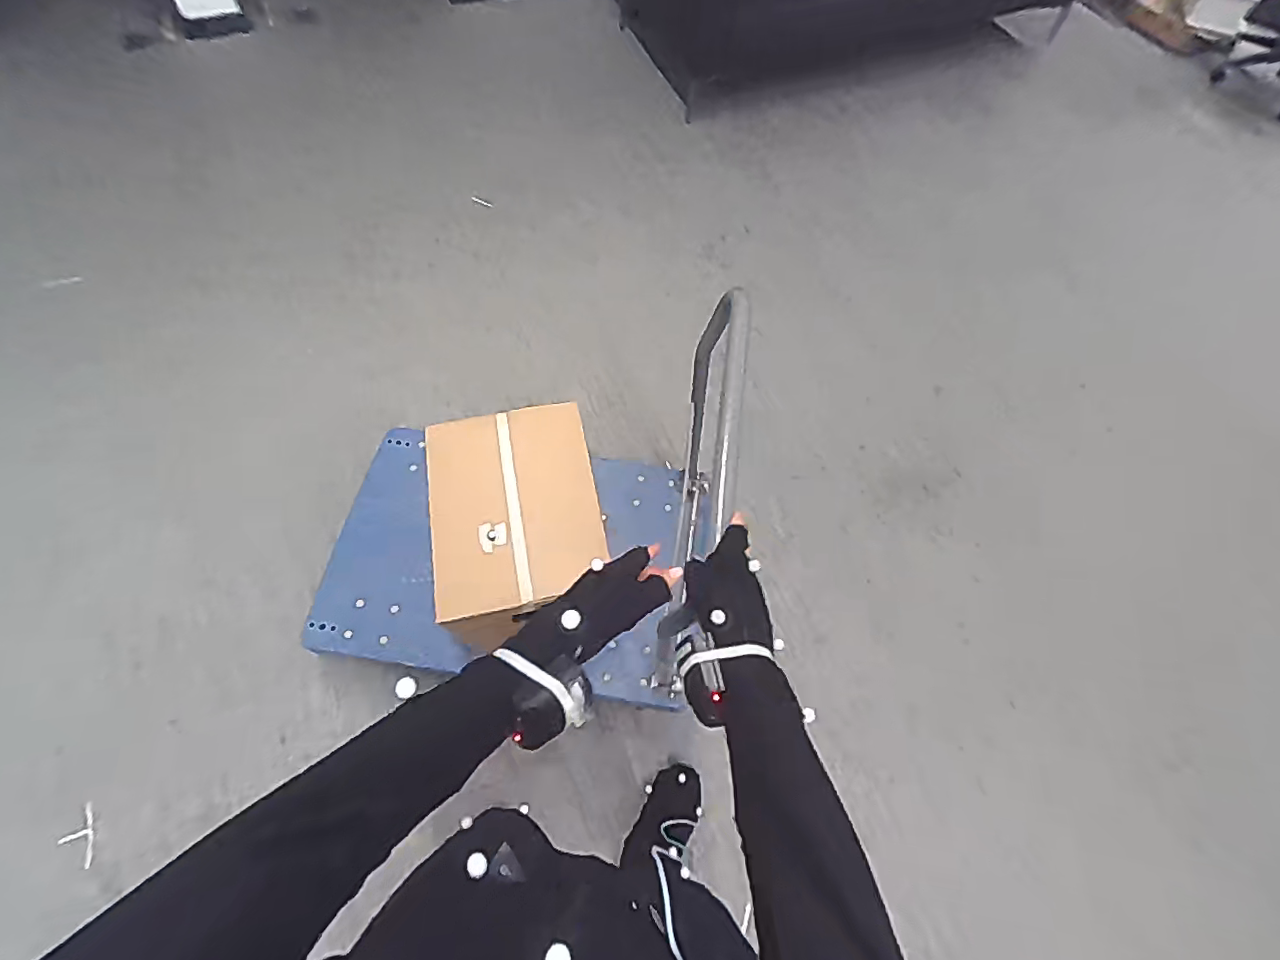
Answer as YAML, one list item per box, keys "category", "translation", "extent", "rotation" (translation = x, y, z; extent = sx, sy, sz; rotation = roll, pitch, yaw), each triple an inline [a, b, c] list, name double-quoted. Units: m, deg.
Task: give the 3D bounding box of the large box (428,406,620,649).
- category: "large box"
  translation: [-0.239, 0.111, 1.170]
  extent: [0.320, 0.320, 0.408]
  rotation: [-12, 65, -7]
